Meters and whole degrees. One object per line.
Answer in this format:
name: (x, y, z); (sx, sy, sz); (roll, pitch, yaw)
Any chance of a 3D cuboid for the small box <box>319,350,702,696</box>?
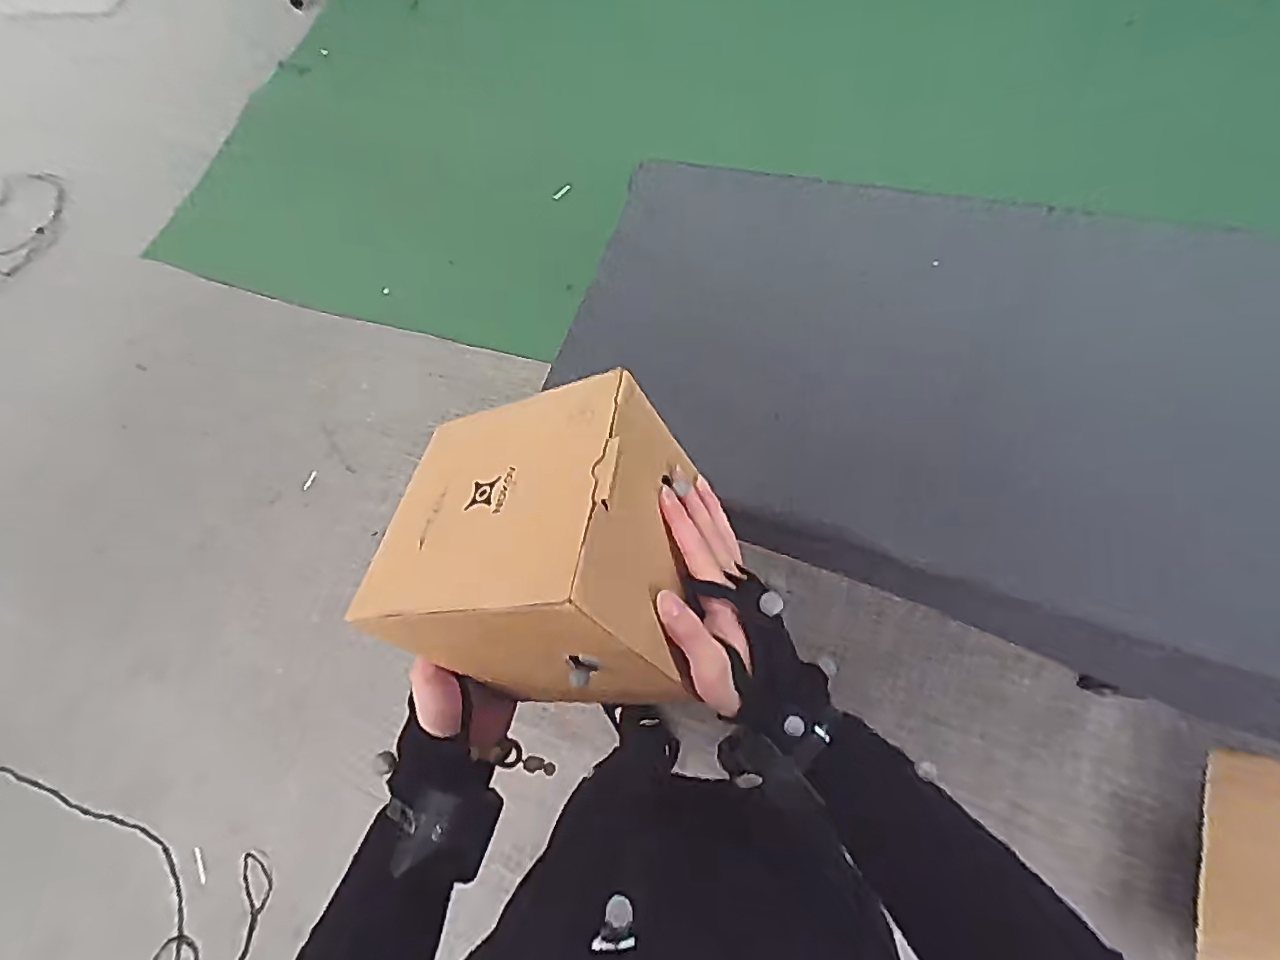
small box: (-0.068, 0.044, 0.384); (0.179, 0.176, 0.168); (-12, 48, 28)
